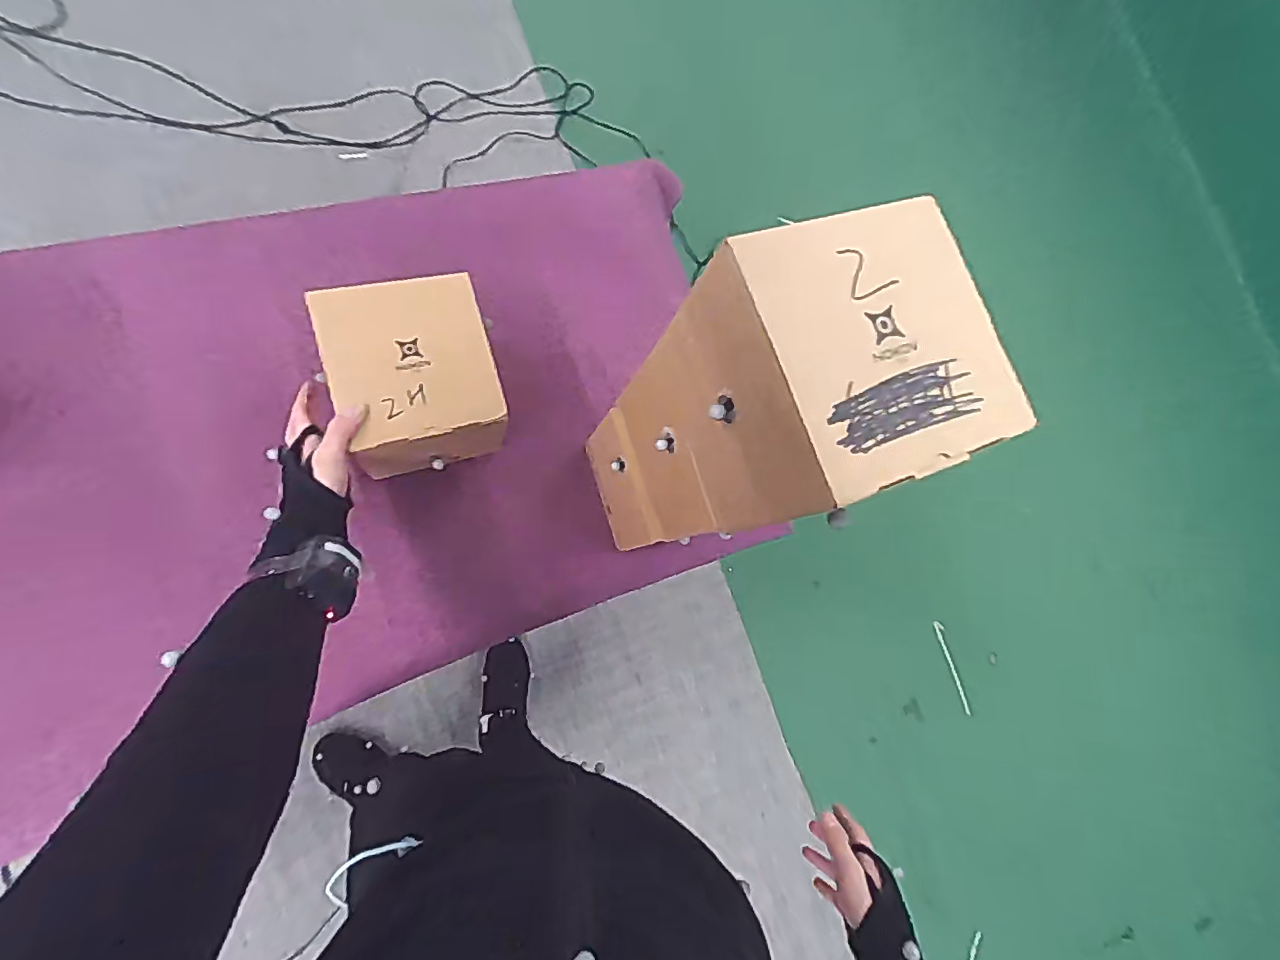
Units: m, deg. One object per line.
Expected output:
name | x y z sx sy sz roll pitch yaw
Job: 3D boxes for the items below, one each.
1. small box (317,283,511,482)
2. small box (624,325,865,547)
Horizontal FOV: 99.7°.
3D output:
small box | -0.263 -0.109 0.653 0.168 0.176 0.179 -15 85 -19
small box | 0.095 -0.037 0.575 0.168 0.176 0.179 -15 84 -17
